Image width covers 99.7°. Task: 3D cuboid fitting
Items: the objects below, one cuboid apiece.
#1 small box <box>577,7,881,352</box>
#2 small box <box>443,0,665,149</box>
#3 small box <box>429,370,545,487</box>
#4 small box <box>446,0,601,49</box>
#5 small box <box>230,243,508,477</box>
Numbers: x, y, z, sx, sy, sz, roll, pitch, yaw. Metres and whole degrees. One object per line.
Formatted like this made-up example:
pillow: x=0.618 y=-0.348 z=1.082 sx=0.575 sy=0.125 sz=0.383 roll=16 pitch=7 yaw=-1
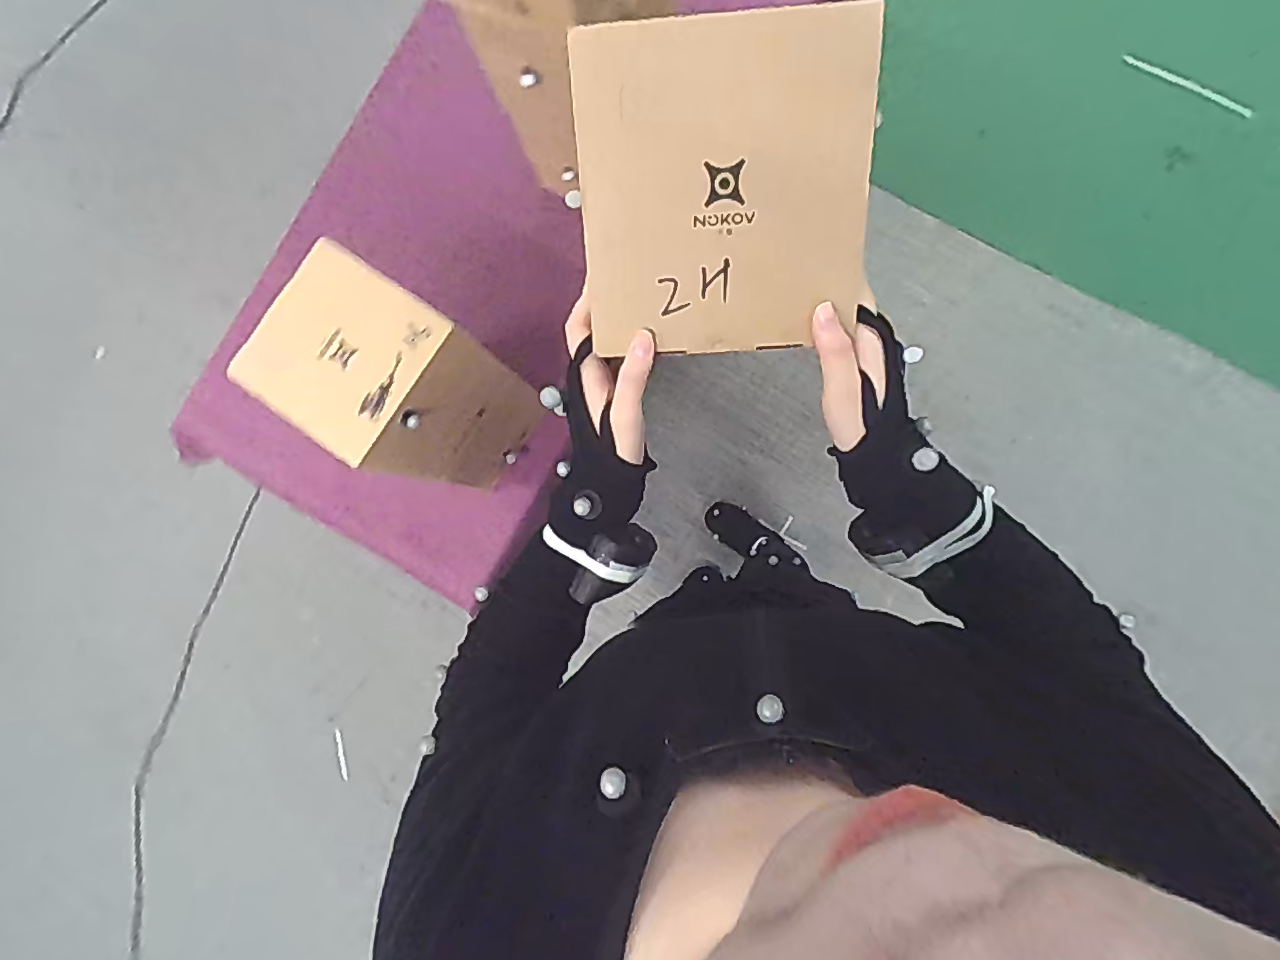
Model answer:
small box: x=0.053 y=-0.193 z=0.390 sx=0.168 sy=0.176 sz=0.179 roll=-1 pitch=112 yaw=5
small box: x=-0.082 y=-0.519 z=0.620 sx=0.179 sy=0.176 sz=0.168 roll=28 pitch=88 yaw=10
small box: x=-0.264 y=-0.101 z=0.766 sx=0.179 sy=0.176 sz=0.168 roll=34 pitch=89 yaw=8
small box: x=-0.105 y=-0.533 z=0.459 sx=0.168 sy=0.176 sz=0.179 roll=27 pitch=89 yaw=9
small box: x=-0.283 y=-0.116 z=0.602 sx=0.179 sy=0.176 sz=0.168 roll=34 pitch=91 yaw=10
